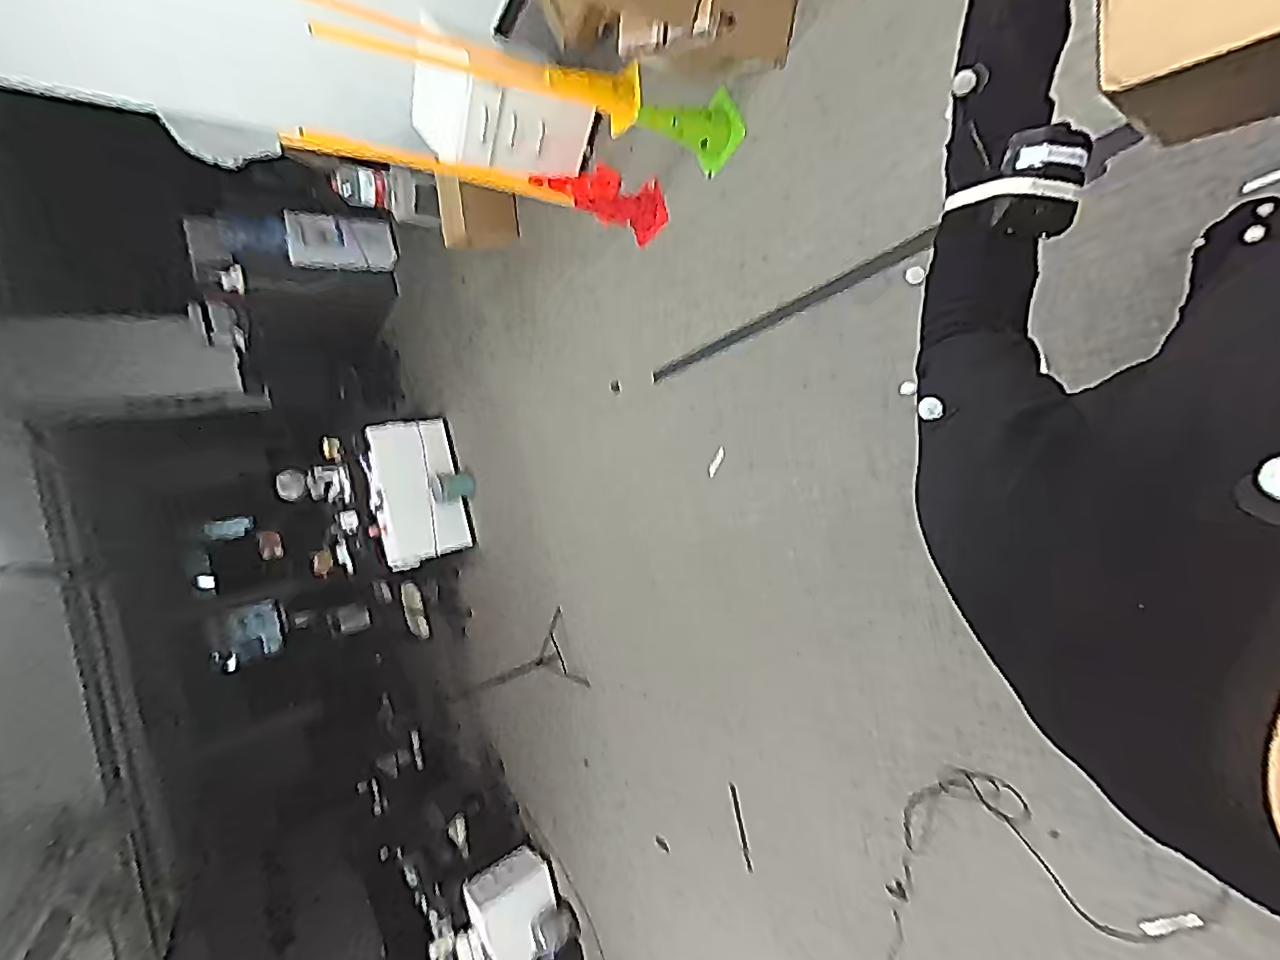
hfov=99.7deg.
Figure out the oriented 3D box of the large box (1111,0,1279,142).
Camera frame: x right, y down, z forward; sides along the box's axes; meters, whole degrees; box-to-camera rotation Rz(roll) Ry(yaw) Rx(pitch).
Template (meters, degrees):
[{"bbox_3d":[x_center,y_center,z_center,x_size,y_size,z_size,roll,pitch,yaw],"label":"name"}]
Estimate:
[{"bbox_3d":[0.538,-0.449,0.291,0.408,0.320,0.320,4,108,48],"label":"large box"}]
